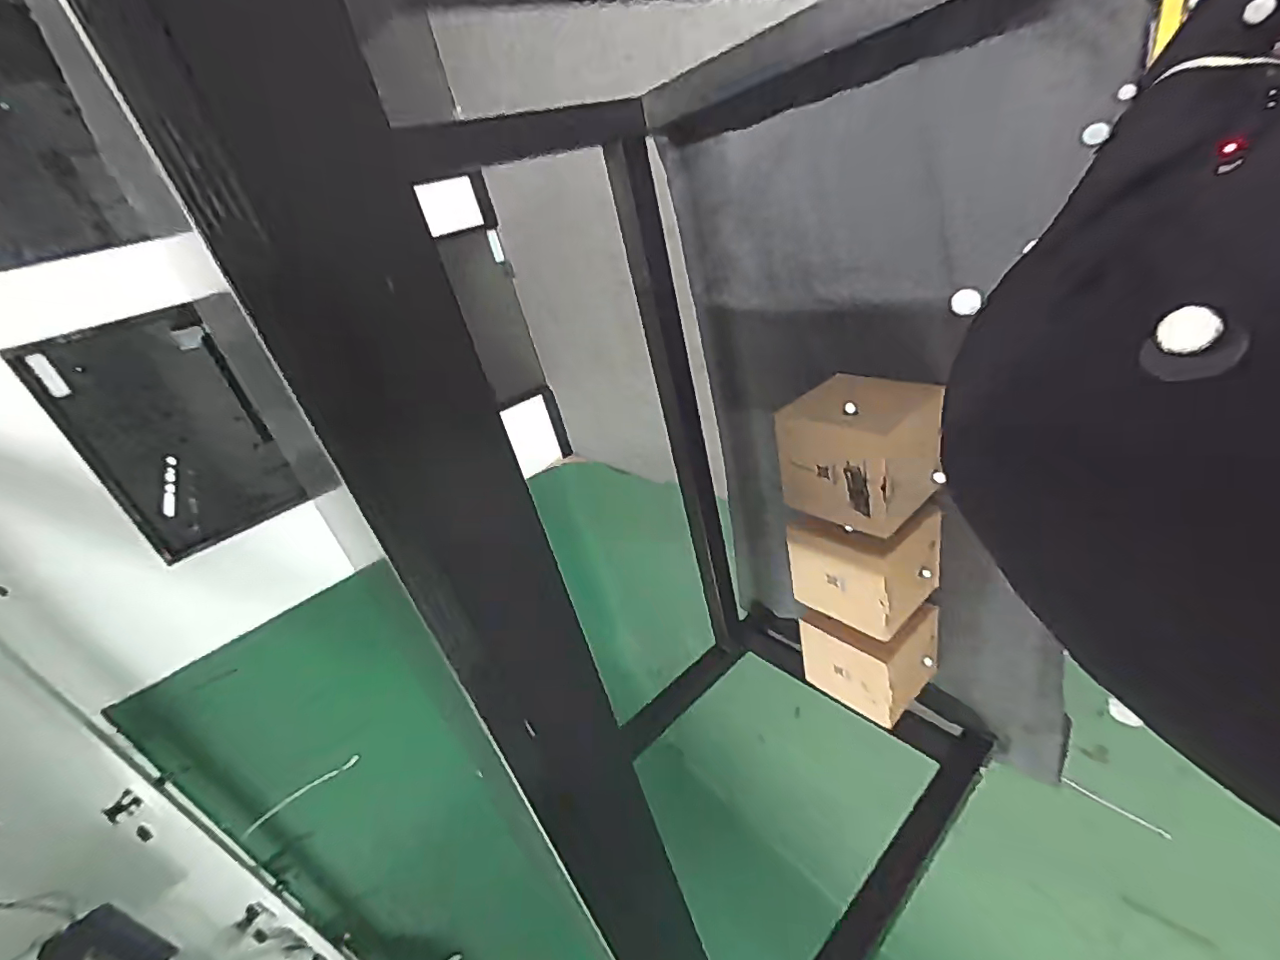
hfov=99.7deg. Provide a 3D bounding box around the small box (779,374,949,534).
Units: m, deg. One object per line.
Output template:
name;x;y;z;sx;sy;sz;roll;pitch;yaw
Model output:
small box;0.339;-0.050;0.815;0.179;0.176;0.168;23;135;49
